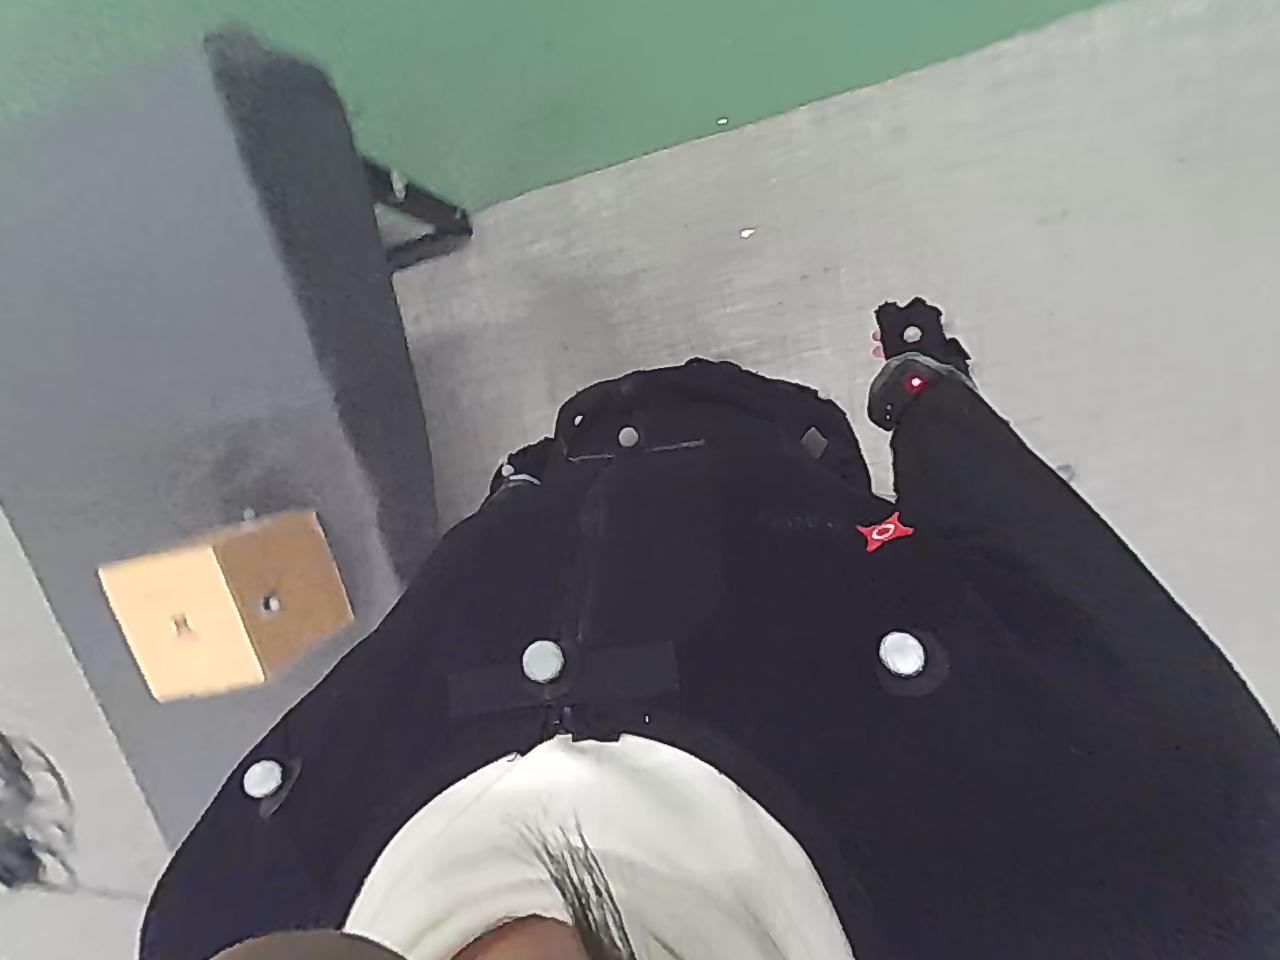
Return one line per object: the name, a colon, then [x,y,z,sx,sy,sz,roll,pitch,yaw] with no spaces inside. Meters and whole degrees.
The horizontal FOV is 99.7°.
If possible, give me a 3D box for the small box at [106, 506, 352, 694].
small box: [-0.523,0.150,0.717,0.168,0.176,0.179,-13,100,10]
